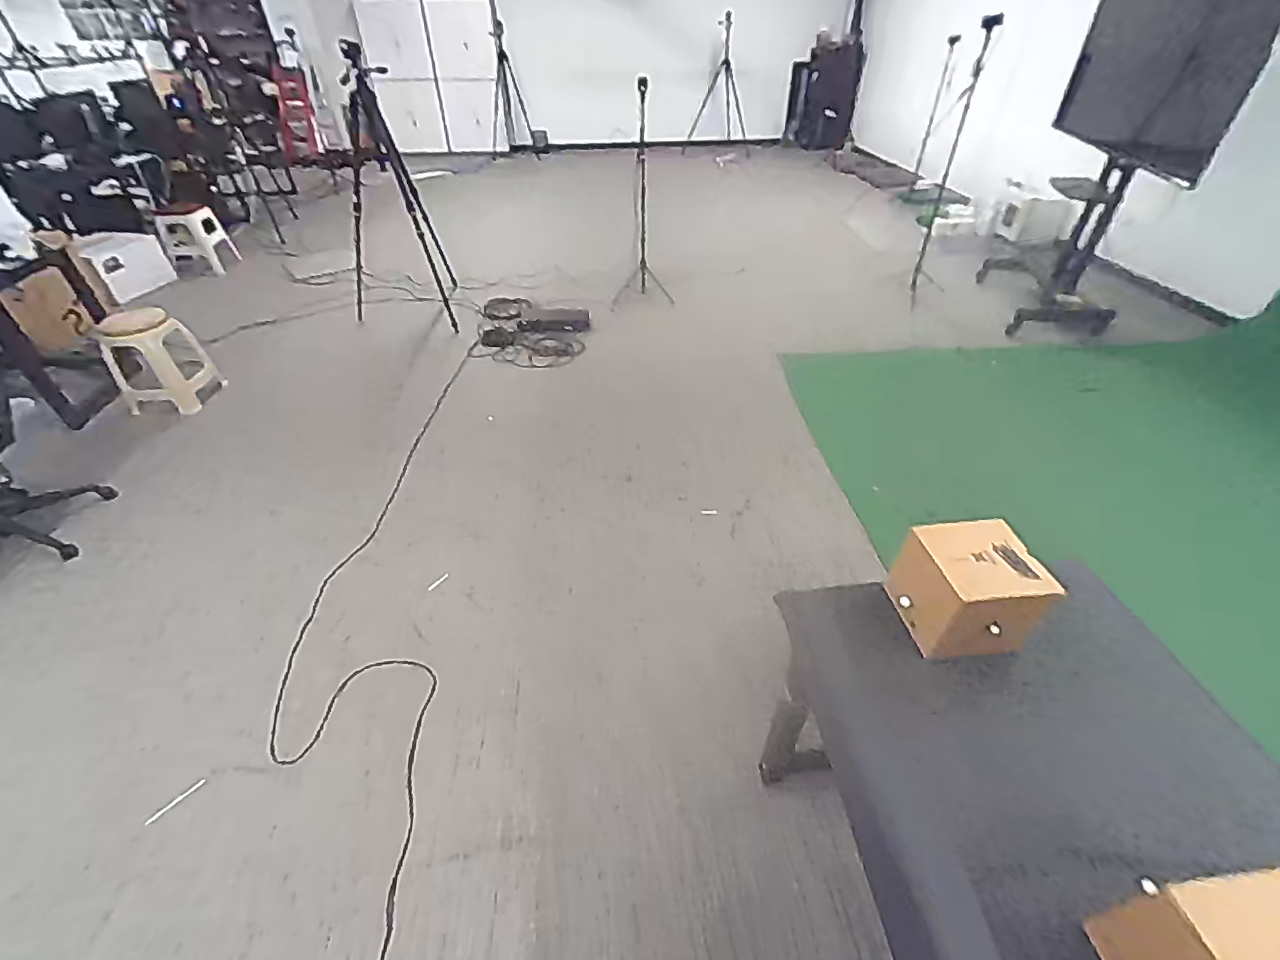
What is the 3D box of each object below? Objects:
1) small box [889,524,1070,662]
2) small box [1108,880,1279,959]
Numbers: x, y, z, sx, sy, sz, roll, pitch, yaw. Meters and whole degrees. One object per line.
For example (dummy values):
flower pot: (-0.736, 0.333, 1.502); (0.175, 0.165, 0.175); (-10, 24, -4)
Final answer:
small box: (0.568, 0.195, 0.934); (0.179, 0.176, 0.168); (-4, 40, -5)
small box: (0.628, 0.526, 0.540); (0.179, 0.176, 0.168); (-4, 41, -6)
